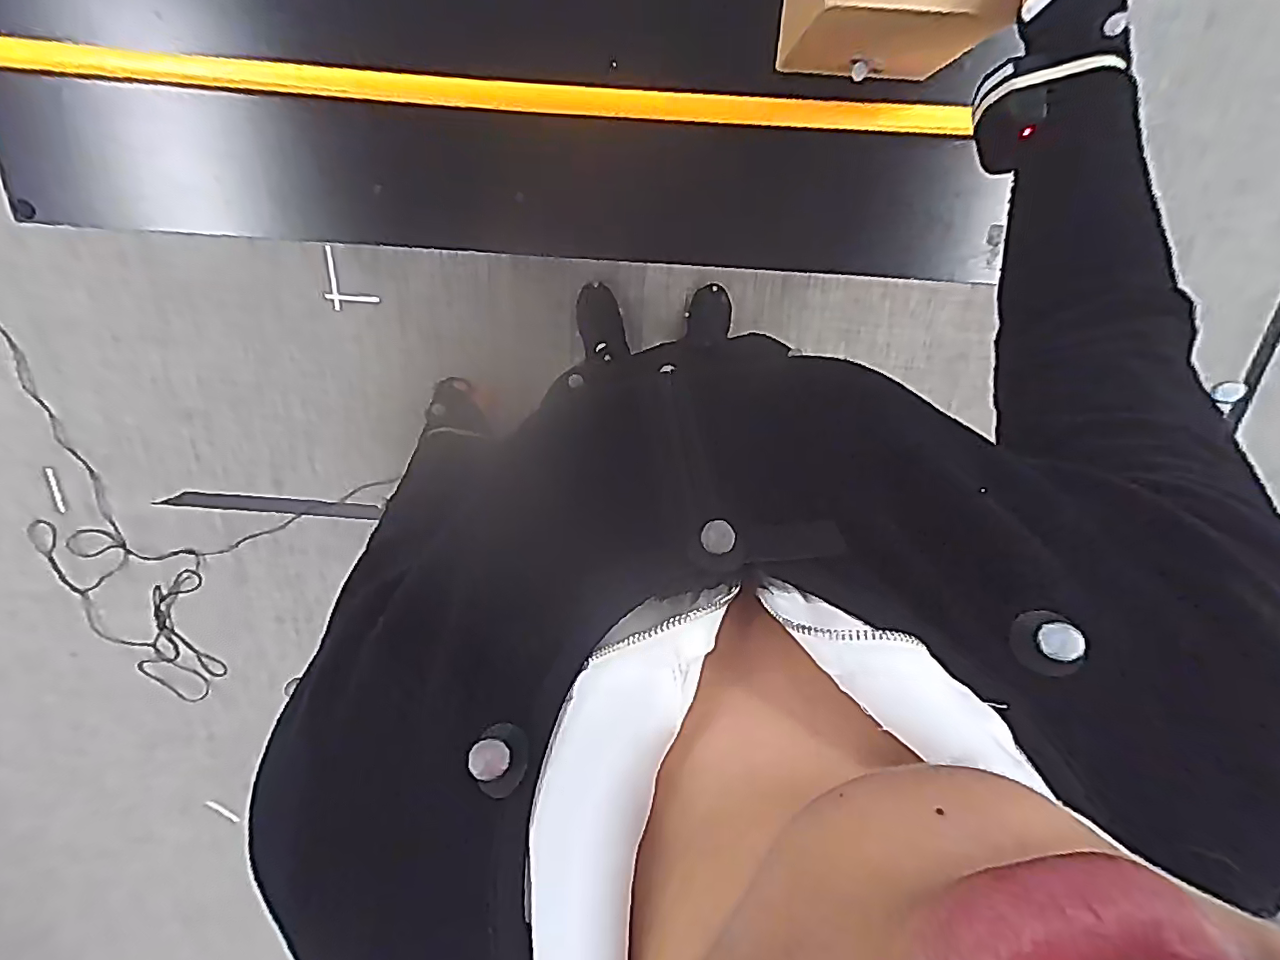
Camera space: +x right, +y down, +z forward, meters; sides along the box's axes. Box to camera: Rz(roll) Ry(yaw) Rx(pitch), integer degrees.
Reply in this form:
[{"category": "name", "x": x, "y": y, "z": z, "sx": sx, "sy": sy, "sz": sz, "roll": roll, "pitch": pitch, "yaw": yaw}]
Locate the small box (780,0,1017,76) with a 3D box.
[{"category": "small box", "x": 0.235, "y": -0.504, "z": 0.491, "sx": 0.168, "sy": 0.176, "sz": 0.179, "roll": 3, "pitch": 112, "yaw": -1}]
